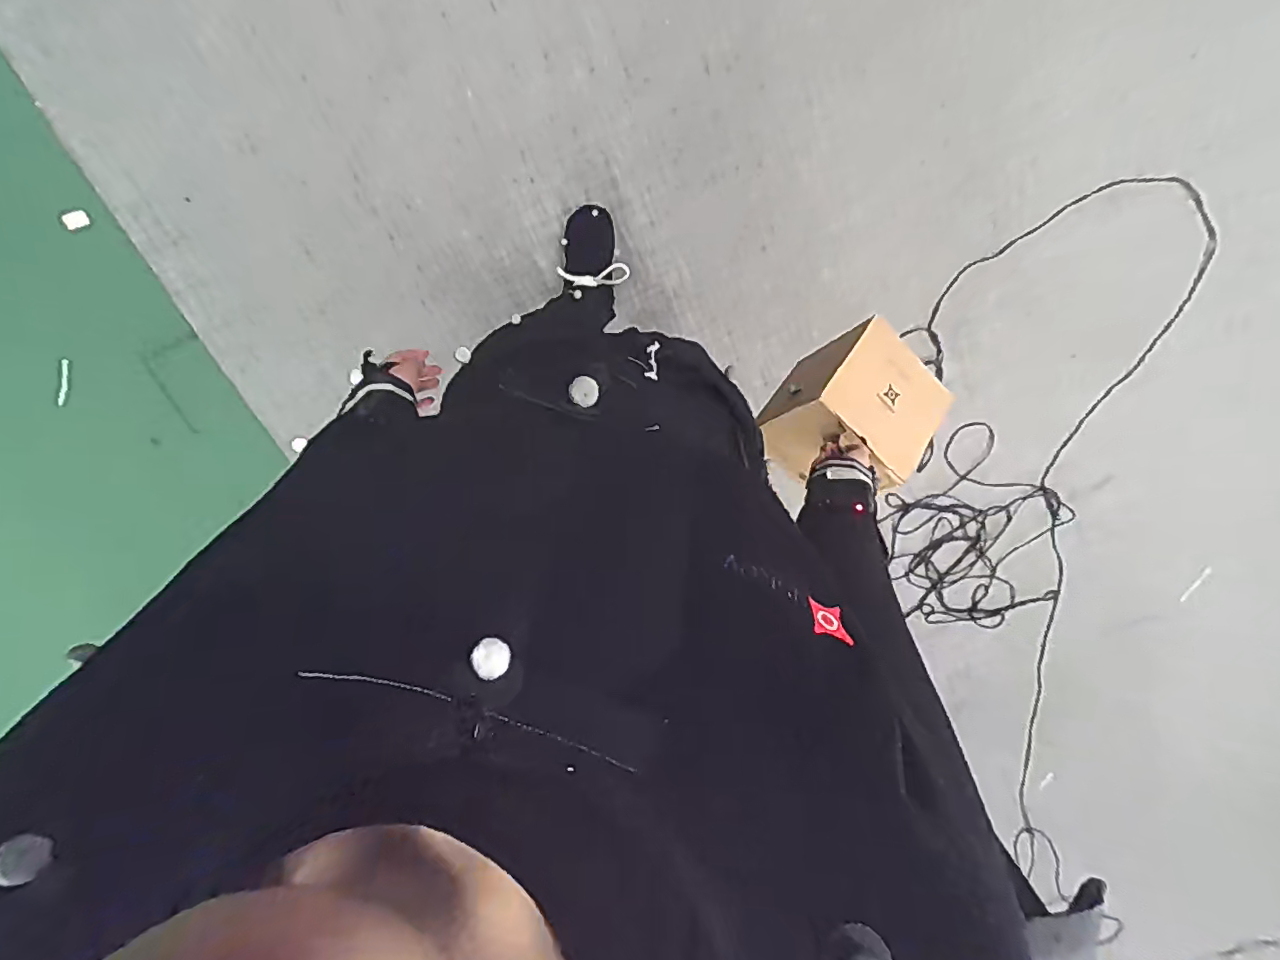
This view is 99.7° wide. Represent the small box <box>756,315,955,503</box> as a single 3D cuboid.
[{"bbox_3d":[0.291,-0.087,0.760,0.168,0.176,0.179,43,66,-10],"label":"small box"}]
